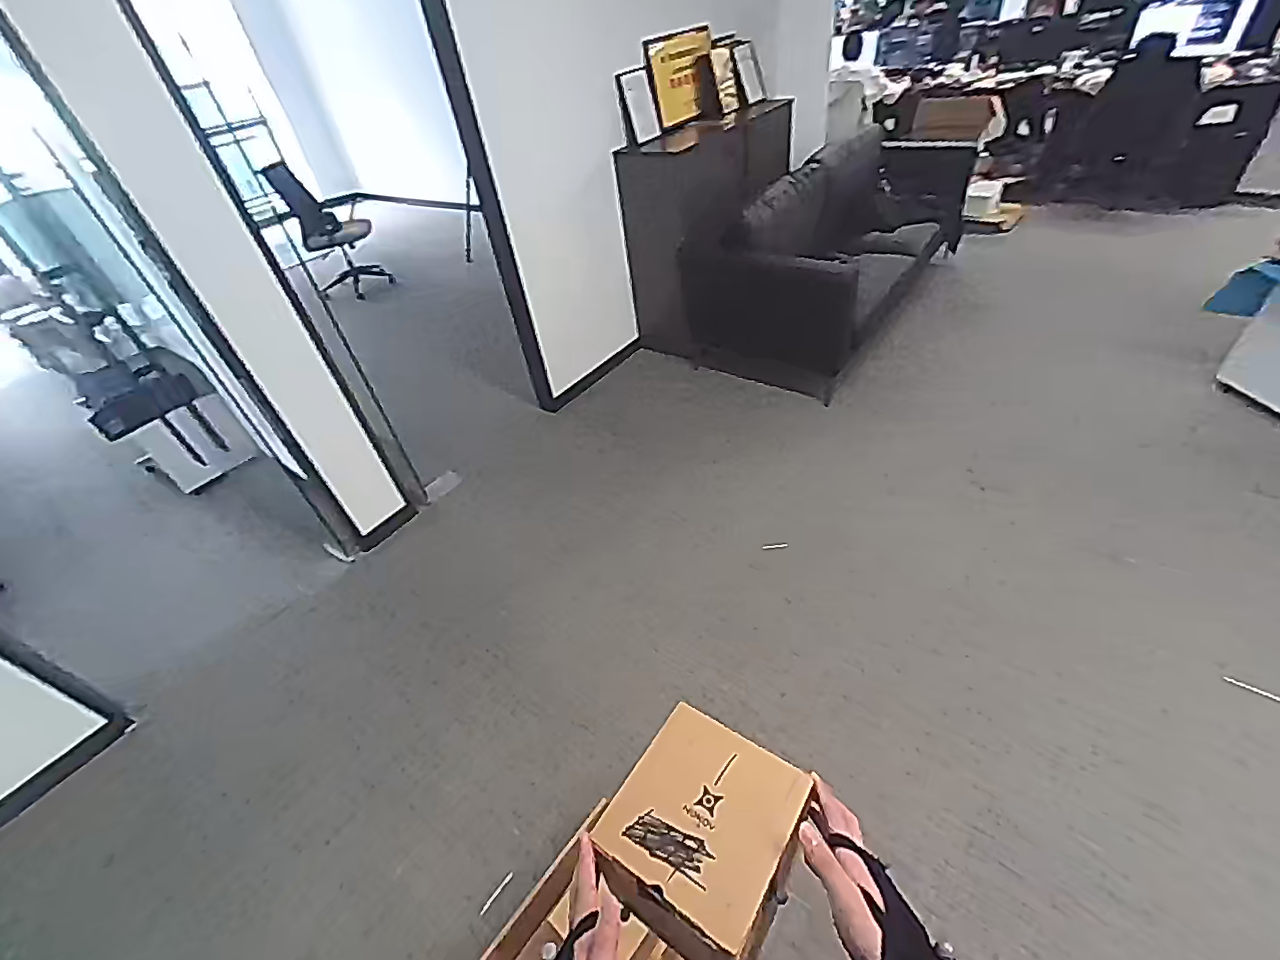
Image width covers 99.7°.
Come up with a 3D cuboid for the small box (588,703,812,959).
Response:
[{"bbox_3d":[0.072,0.393,0.587,0.168,0.176,0.179,20,44,32],"label":"small box"}]
